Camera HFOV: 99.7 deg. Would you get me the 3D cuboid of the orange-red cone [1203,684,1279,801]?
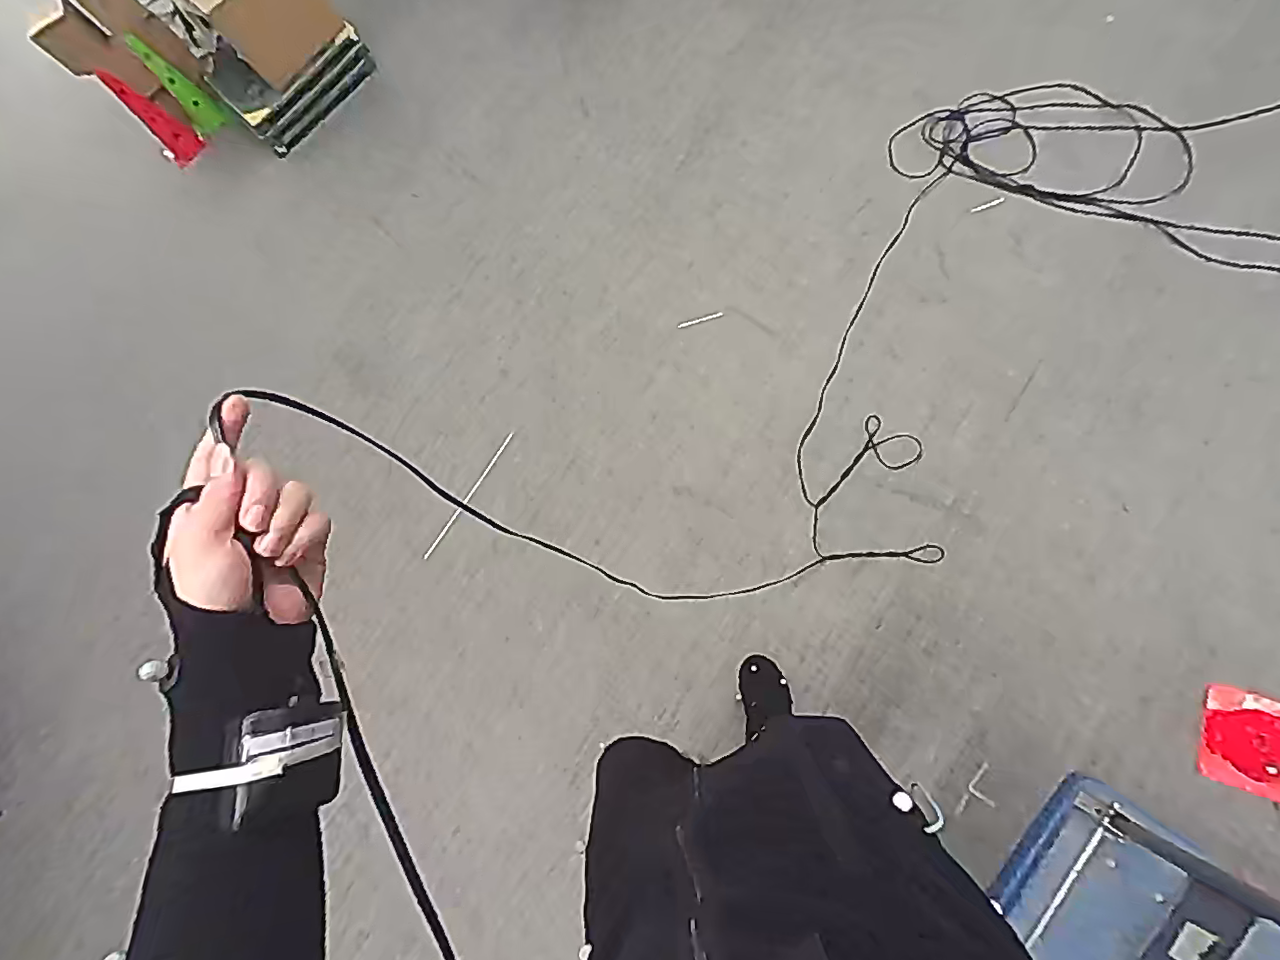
[{"bbox_3d":[1.255,0.502,0.956,0.198,0.360,0.199,17,78,17],"label":"orange-red cone"}]
